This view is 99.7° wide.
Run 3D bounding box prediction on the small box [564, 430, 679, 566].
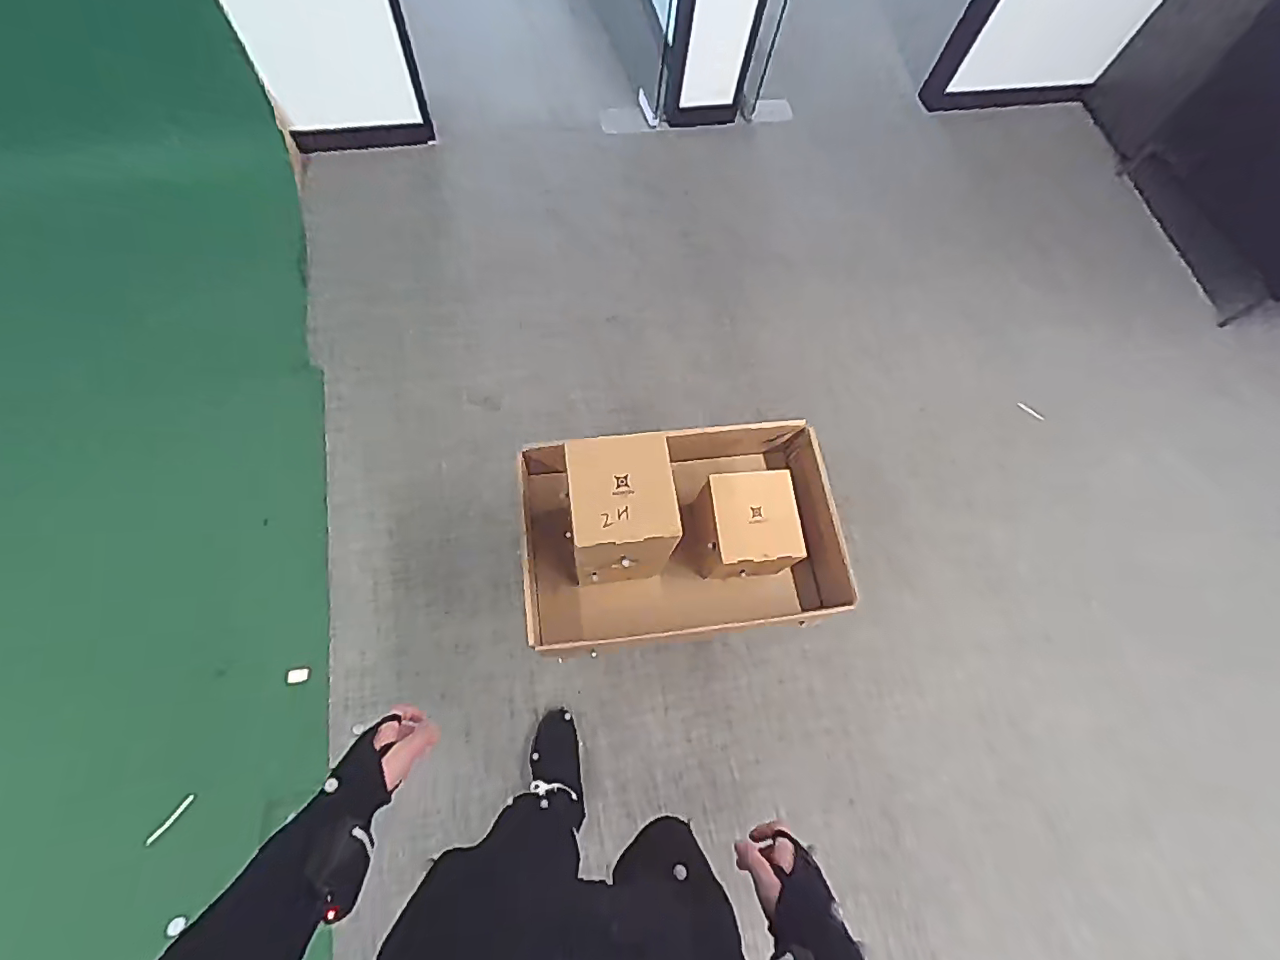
[{"bbox_3d":[-0.039,0.034,0.904,0.168,0.176,0.179,-5,70,-8],"label":"small box"}]
